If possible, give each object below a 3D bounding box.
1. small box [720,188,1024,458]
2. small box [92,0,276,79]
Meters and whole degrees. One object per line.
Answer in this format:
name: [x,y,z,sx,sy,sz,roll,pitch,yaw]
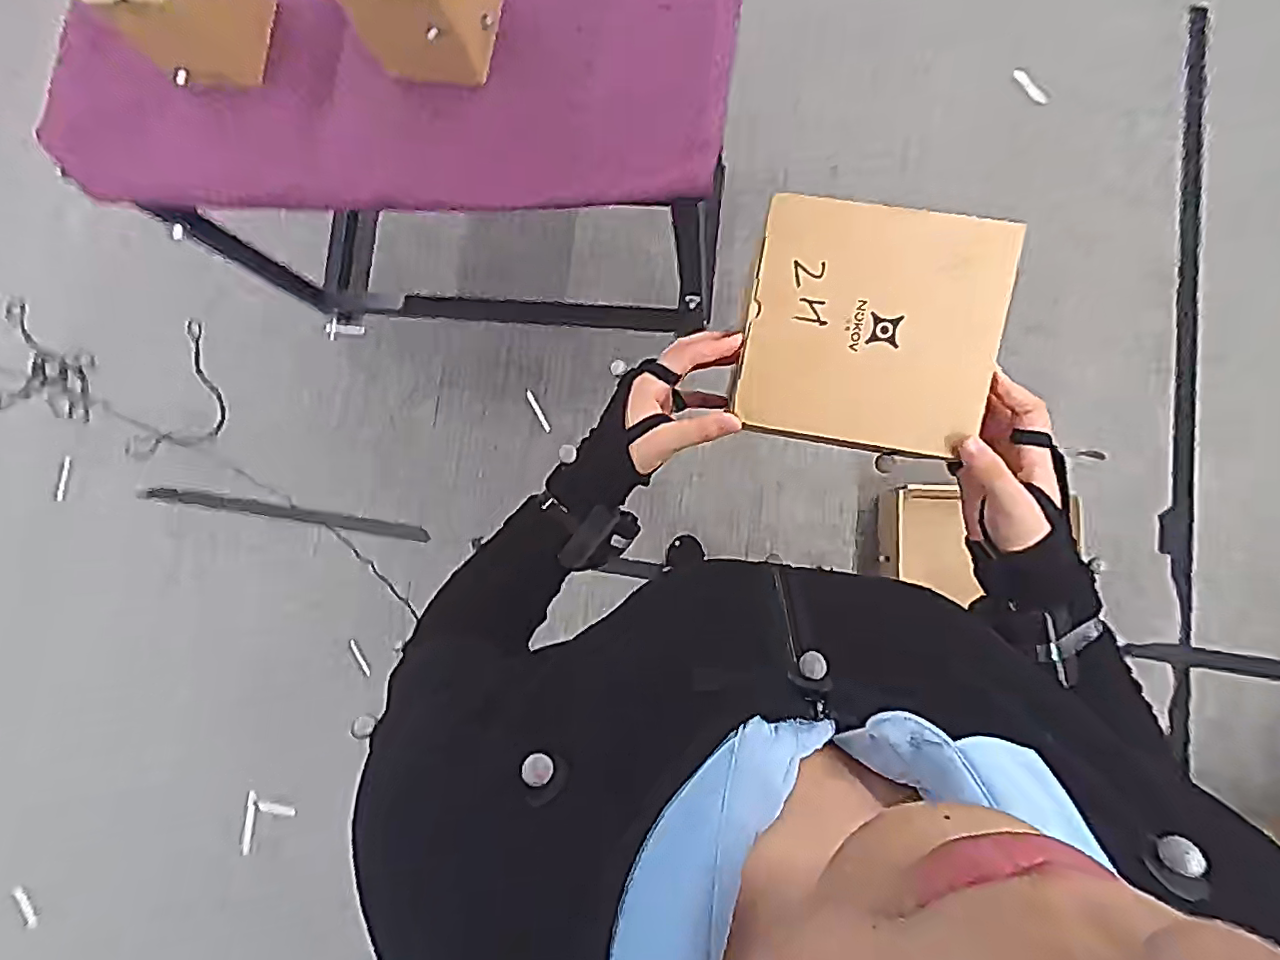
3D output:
small box: [0.171,-0.117,0.459,0.179,0.176,0.168,10,95,5]
small box: [-0.754,-0.814,0.905,0.168,0.176,0.179,7,85,7]
